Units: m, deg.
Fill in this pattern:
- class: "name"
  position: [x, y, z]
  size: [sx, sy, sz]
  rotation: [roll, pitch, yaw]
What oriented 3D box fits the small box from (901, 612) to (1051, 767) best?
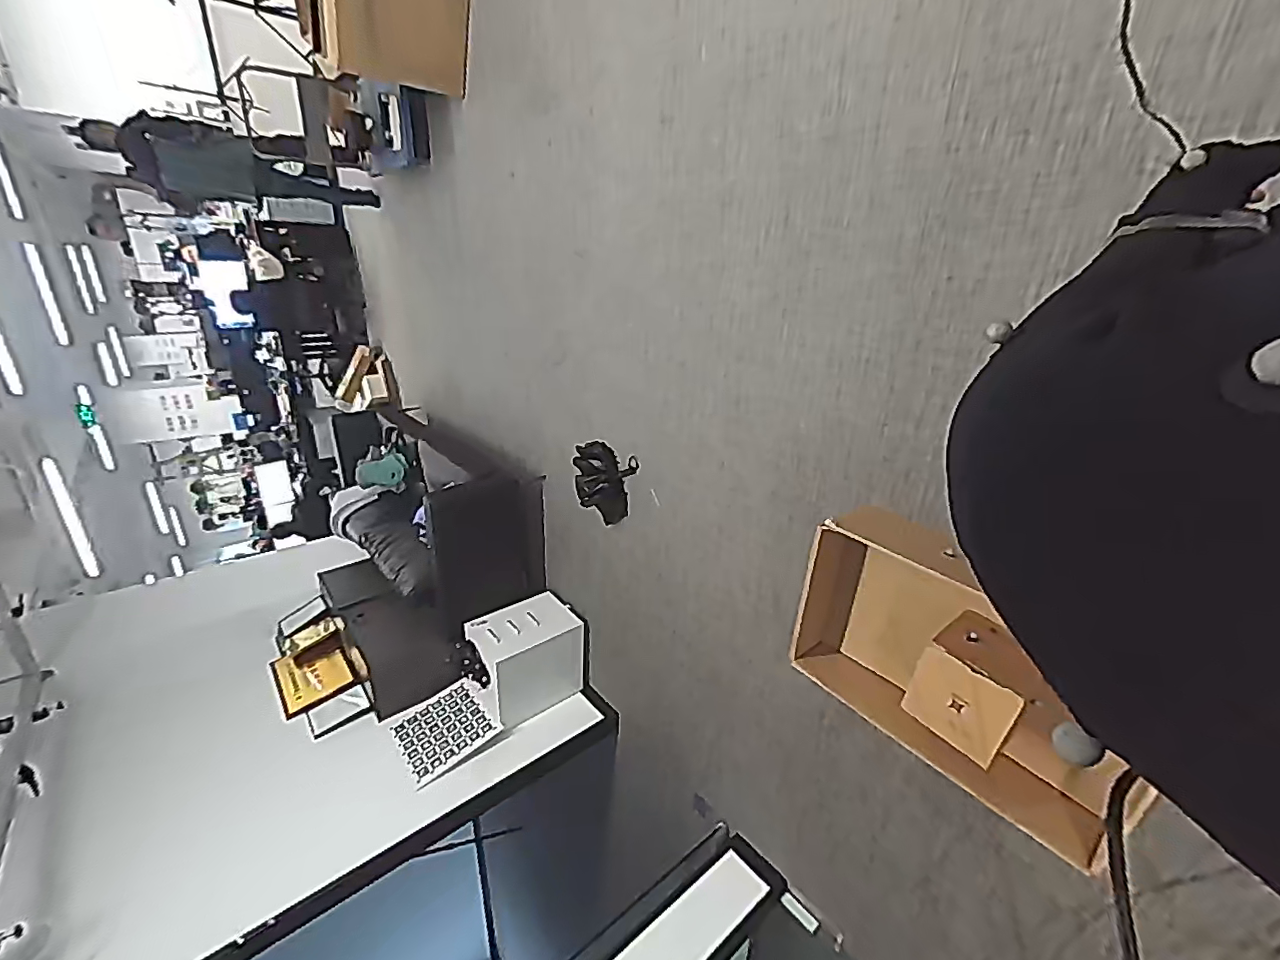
- class: "small box"
  position: [0.630, 0.381, 1.015]
  size: [0.168, 0.176, 0.179]
  rotation: [33, 130, 44]
